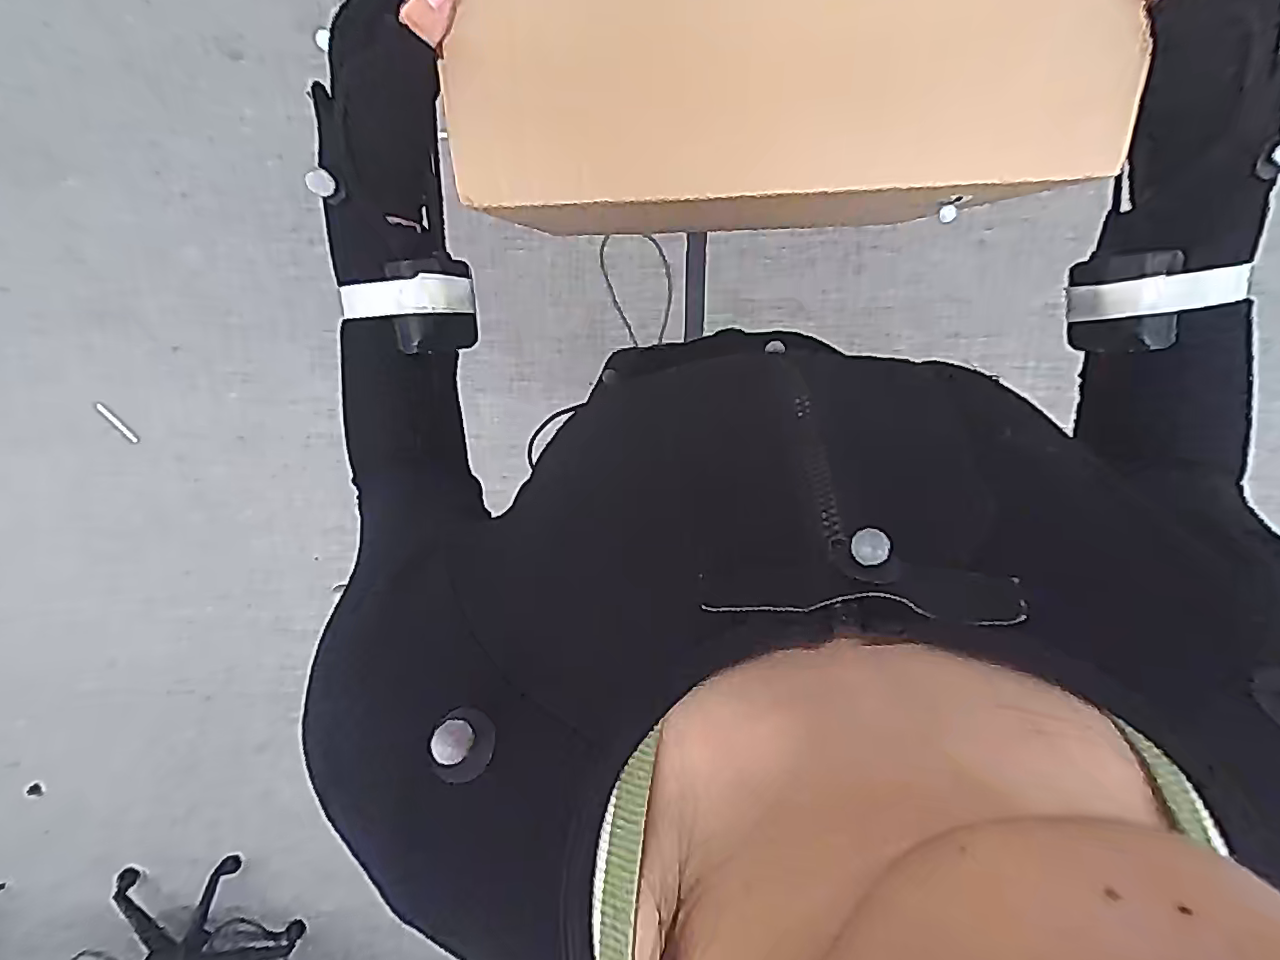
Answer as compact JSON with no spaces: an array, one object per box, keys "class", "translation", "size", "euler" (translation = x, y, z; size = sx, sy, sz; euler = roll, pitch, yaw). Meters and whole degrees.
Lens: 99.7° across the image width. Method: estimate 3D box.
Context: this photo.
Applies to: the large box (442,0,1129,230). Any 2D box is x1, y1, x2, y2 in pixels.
[{"class":"large box","translation":[0.086,-0.384,0.431],"size":[0.408,0.320,0.320],"euler":[-1,111,3]}]
